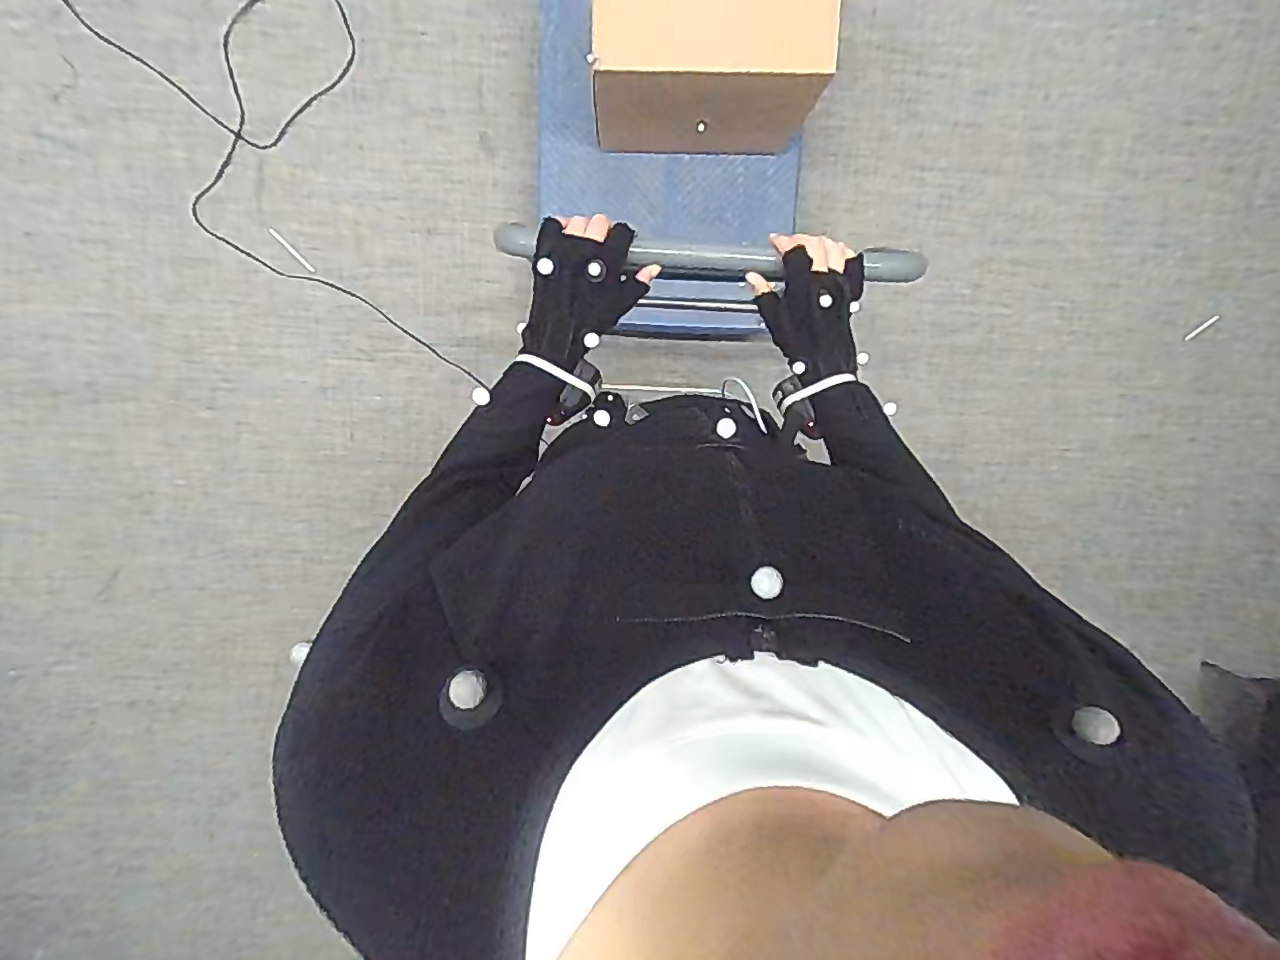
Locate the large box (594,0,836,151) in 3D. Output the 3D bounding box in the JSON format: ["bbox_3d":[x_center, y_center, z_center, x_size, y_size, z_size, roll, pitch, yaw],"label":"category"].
[{"bbox_3d":[0.120,-0.849,1.018,0.408,0.320,0.320,-1,98,-2],"label":"large box"}]
